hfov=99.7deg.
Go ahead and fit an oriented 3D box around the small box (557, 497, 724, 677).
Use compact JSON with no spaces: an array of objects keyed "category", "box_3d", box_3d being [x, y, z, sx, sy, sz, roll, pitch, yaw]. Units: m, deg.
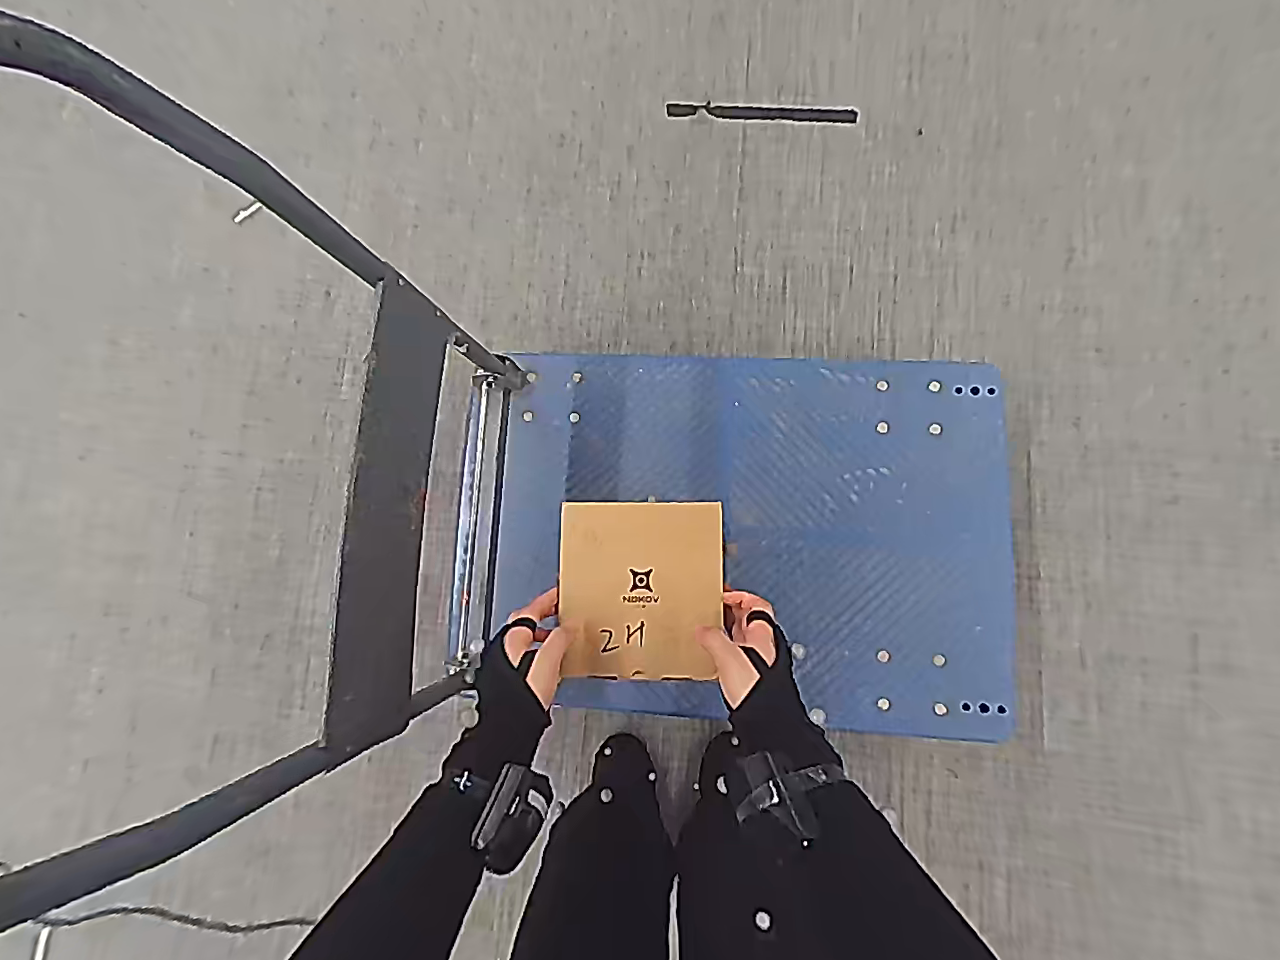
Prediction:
[{"category":"small box","box_3d":[0.007,0.115,0.616,0.168,0.176,0.179,-1,82,5]}]
